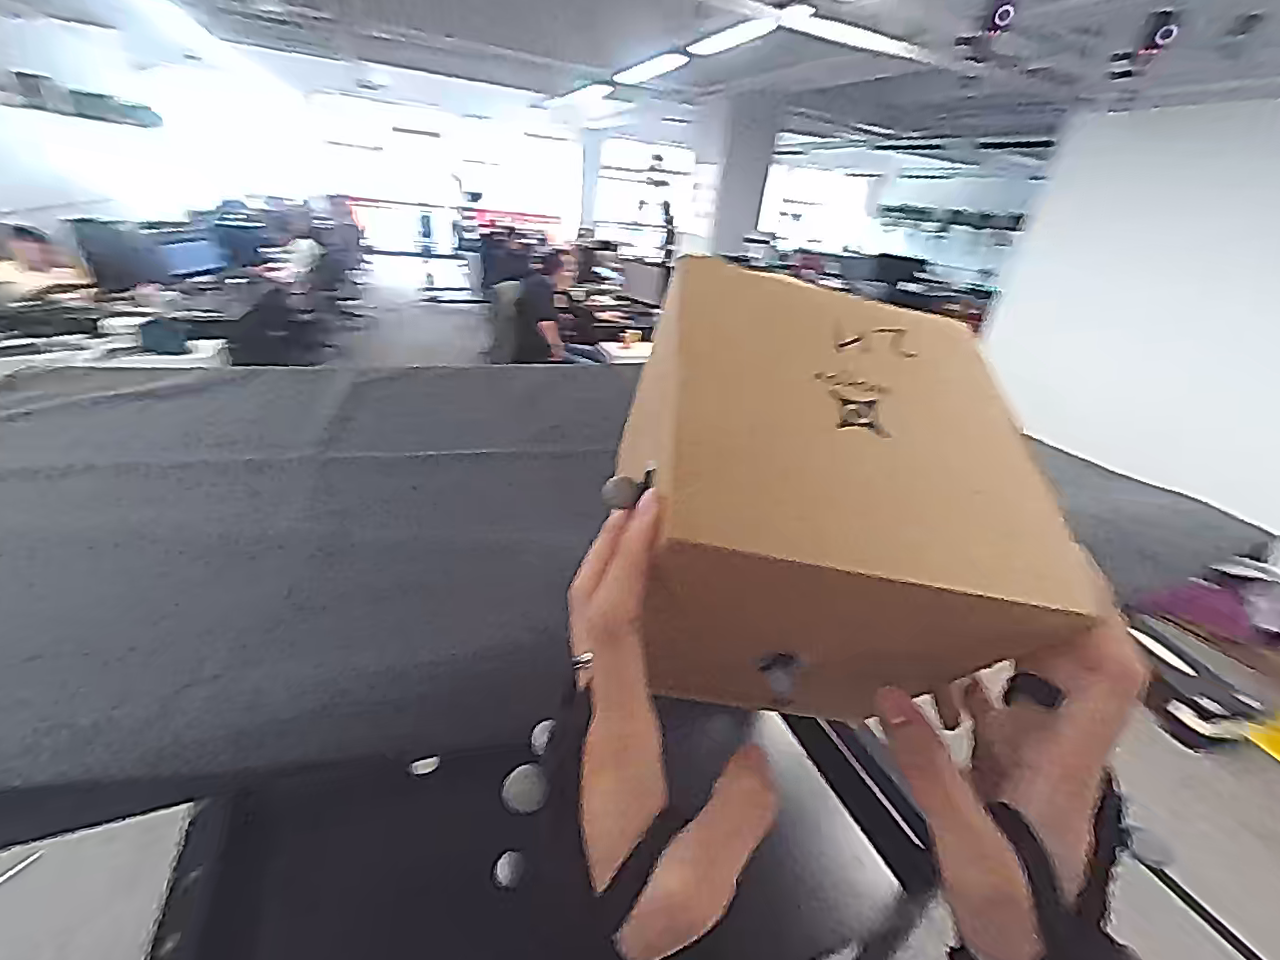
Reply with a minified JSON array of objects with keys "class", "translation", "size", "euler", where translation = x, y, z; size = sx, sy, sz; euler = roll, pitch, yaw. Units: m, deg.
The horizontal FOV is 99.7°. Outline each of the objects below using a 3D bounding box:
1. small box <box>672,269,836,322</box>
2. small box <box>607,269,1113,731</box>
[{"class":"small box","translation":[0.149,-0.203,0.789],"size":[0.168,0.176,0.179],"euler":[-2,28,-18]},{"class":"small box","translation":[0.080,0.022,0.296],"size":[0.168,0.176,0.179],"euler":[11,51,-7]}]
